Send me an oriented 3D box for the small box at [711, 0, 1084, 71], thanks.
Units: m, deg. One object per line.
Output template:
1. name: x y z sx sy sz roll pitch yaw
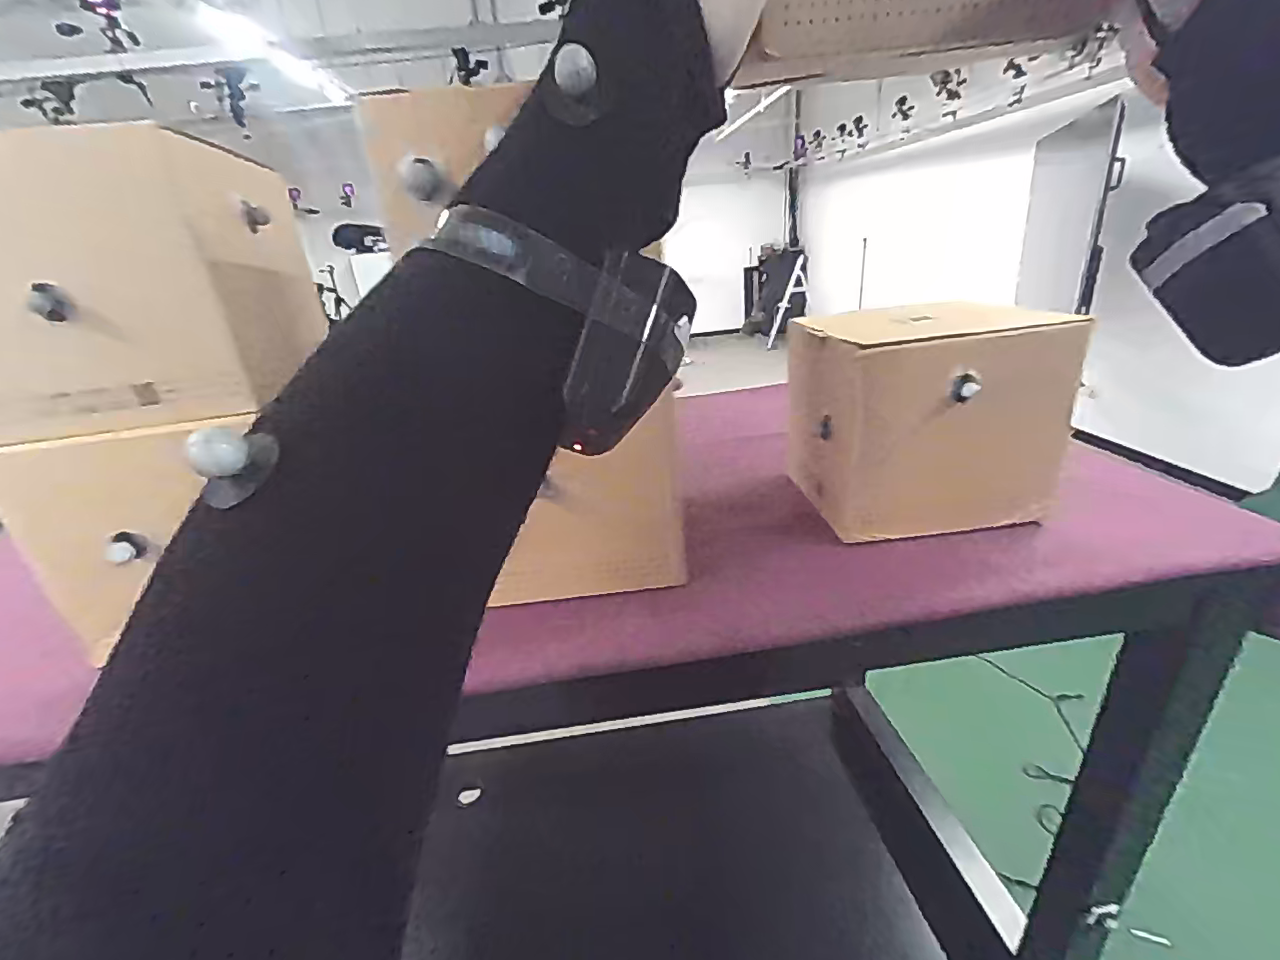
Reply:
1. small box: 0.136 -0.325 0.279 0.179 0.176 0.168 -5 31 -1

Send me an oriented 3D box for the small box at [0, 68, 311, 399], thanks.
1. small box: -0.361 -0.155 0.374 0.168 0.176 0.179 -7 23 -8

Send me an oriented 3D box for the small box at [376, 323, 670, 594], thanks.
1. small box: -0.075 -0.023 0.438 0.179 0.176 0.168 -6 24 -2

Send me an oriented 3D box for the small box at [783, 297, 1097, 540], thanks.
1. small box: 0.230 -0.058 0.468 0.179 0.176 0.168 -4 24 1
